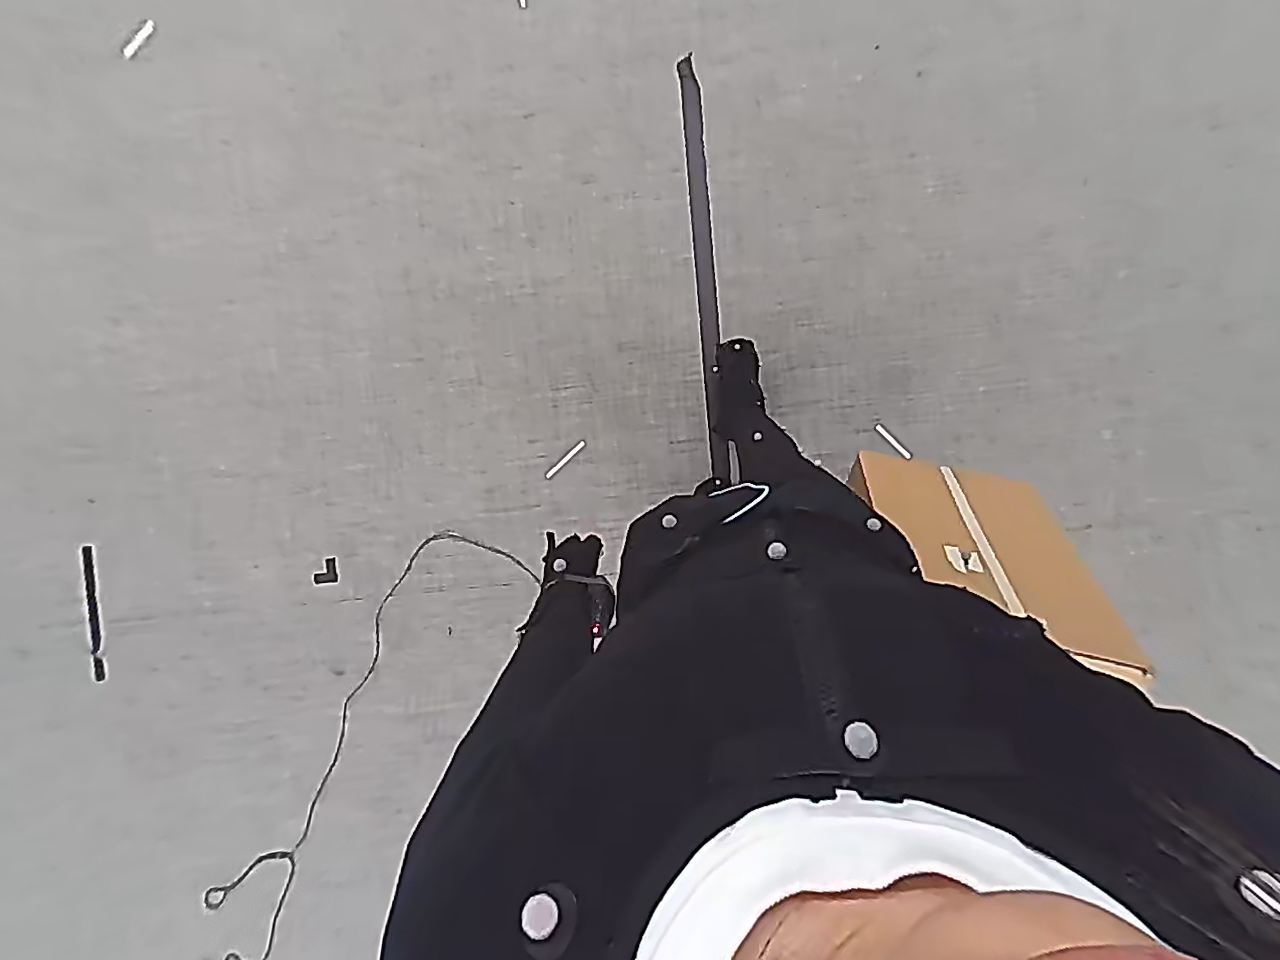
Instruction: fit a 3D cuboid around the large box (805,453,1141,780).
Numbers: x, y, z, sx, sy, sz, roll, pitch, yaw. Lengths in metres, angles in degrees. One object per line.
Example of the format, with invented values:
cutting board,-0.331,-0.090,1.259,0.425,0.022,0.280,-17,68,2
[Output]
large box,0.489,0.211,0.924,0.320,0.408,0.320,11,127,5
